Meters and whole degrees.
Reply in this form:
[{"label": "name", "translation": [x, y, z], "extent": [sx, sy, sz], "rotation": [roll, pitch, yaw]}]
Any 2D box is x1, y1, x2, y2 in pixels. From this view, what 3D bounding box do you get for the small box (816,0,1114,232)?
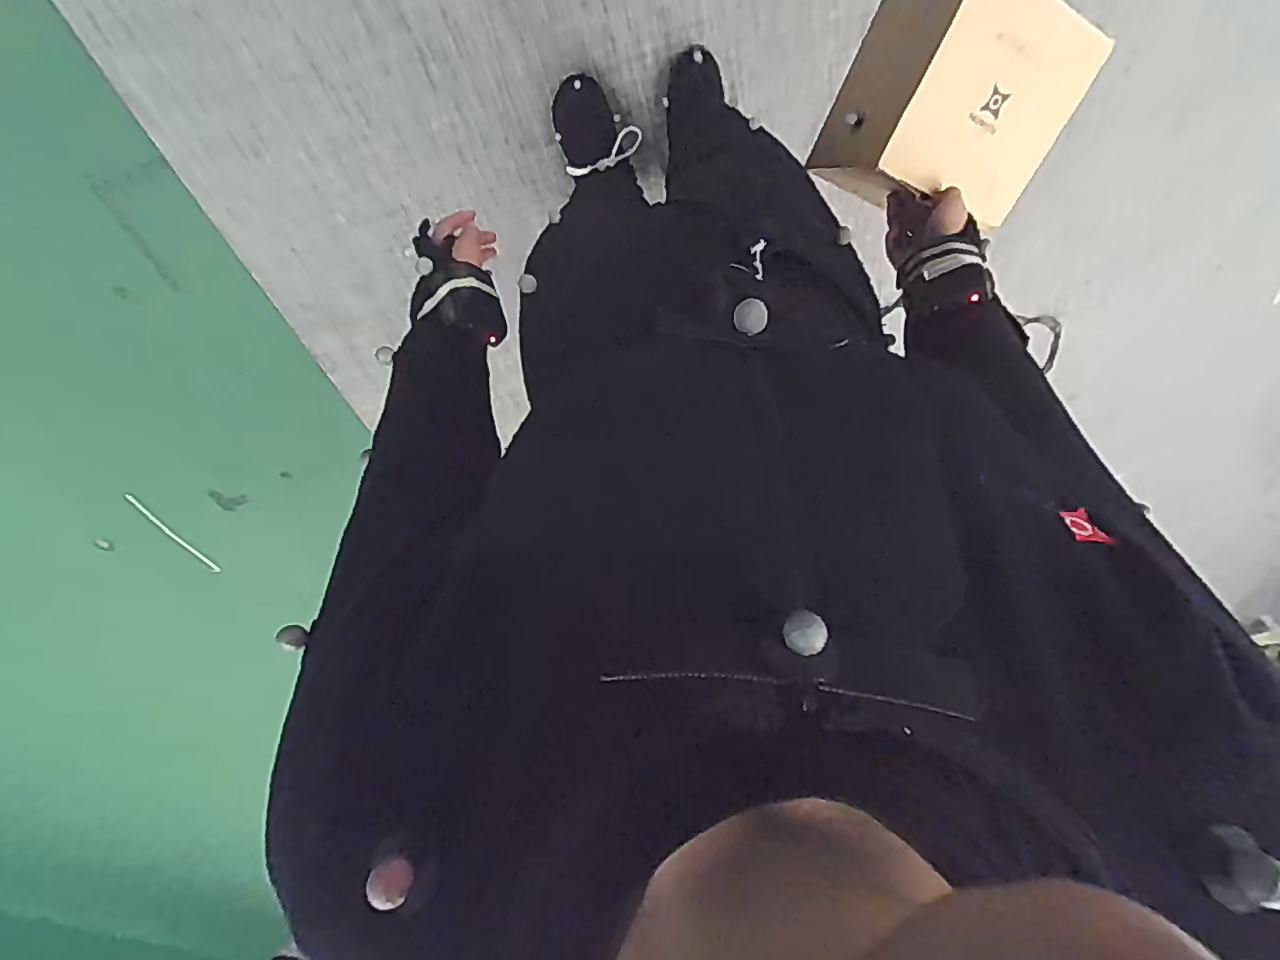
[{"label": "small box", "translation": [0.314, -0.386, 0.568], "extent": [0.168, 0.176, 0.179], "rotation": [15, 115, -18]}]
